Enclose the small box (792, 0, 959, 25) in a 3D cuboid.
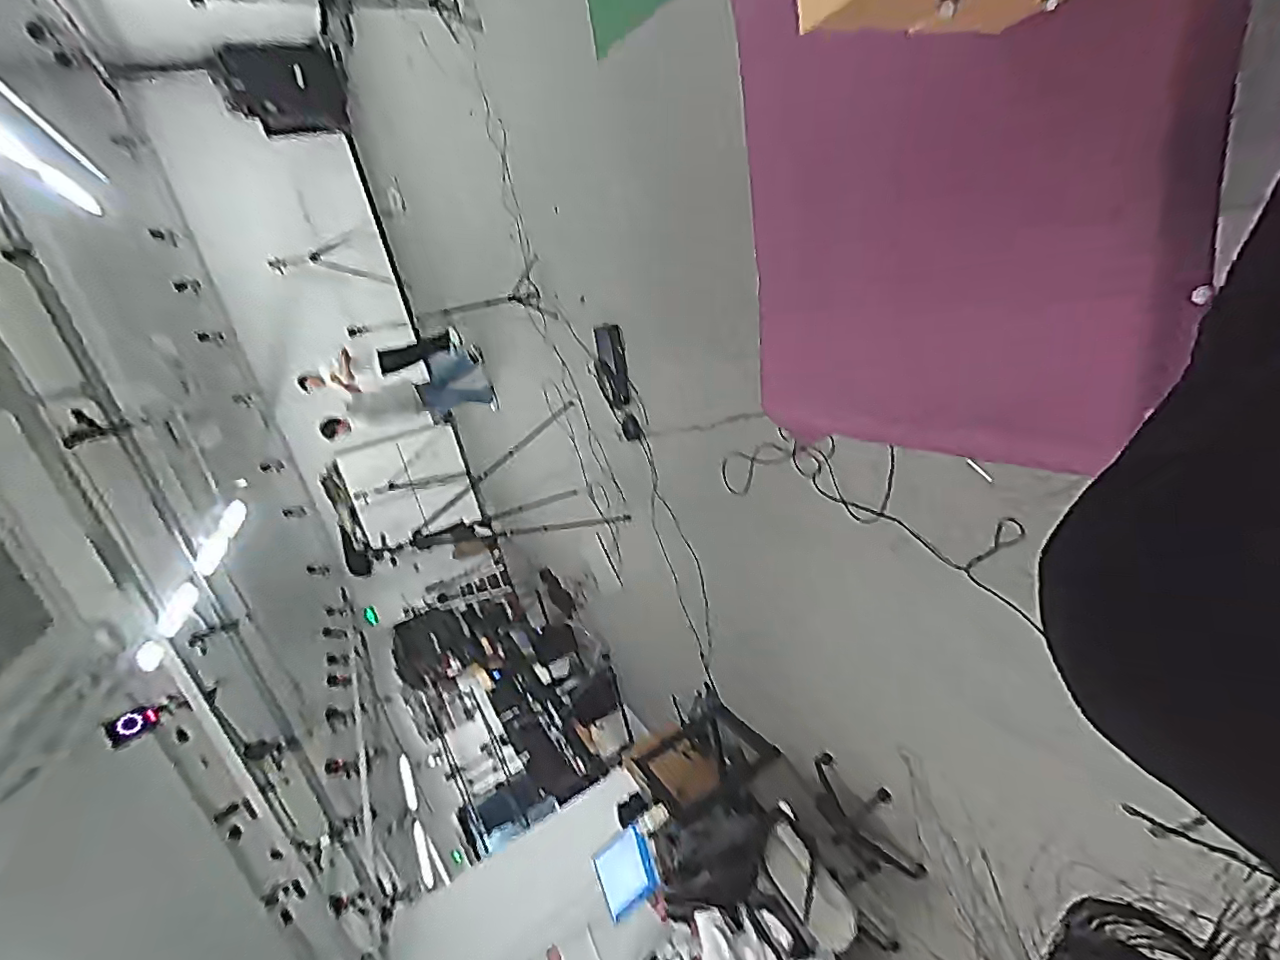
[{"bbox_3d":[0.238,-0.515,0.444,0.168,0.176,0.179,24,131,60],"label":"small box"}]
